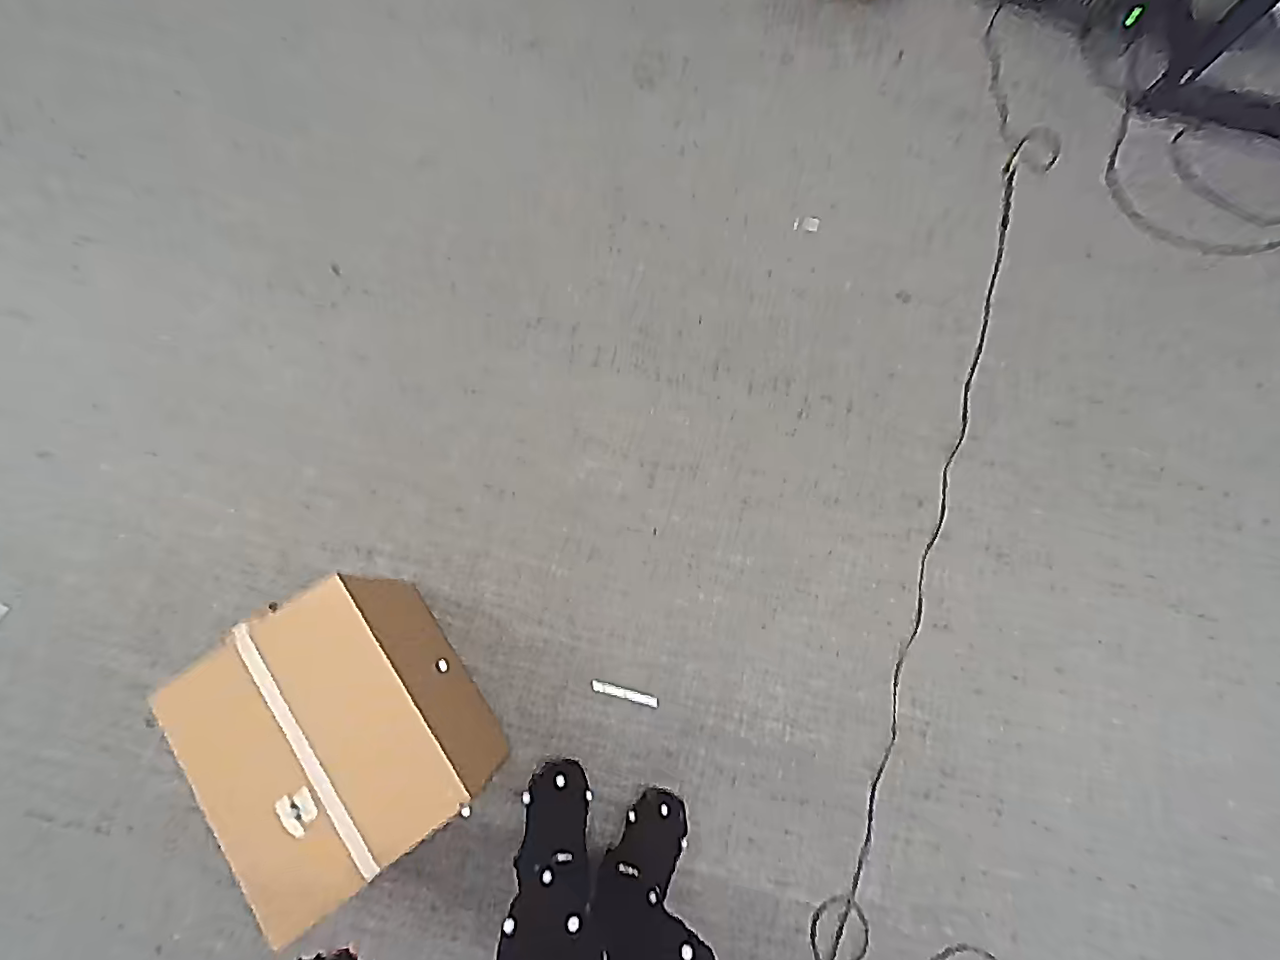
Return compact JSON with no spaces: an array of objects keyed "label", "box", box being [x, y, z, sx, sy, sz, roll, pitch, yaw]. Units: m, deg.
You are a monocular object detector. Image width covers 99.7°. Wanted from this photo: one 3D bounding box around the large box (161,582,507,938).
[{"label":"large box","box":[-0.494,0.435,0.954,0.320,0.320,0.408,-35,81,-9]}]
